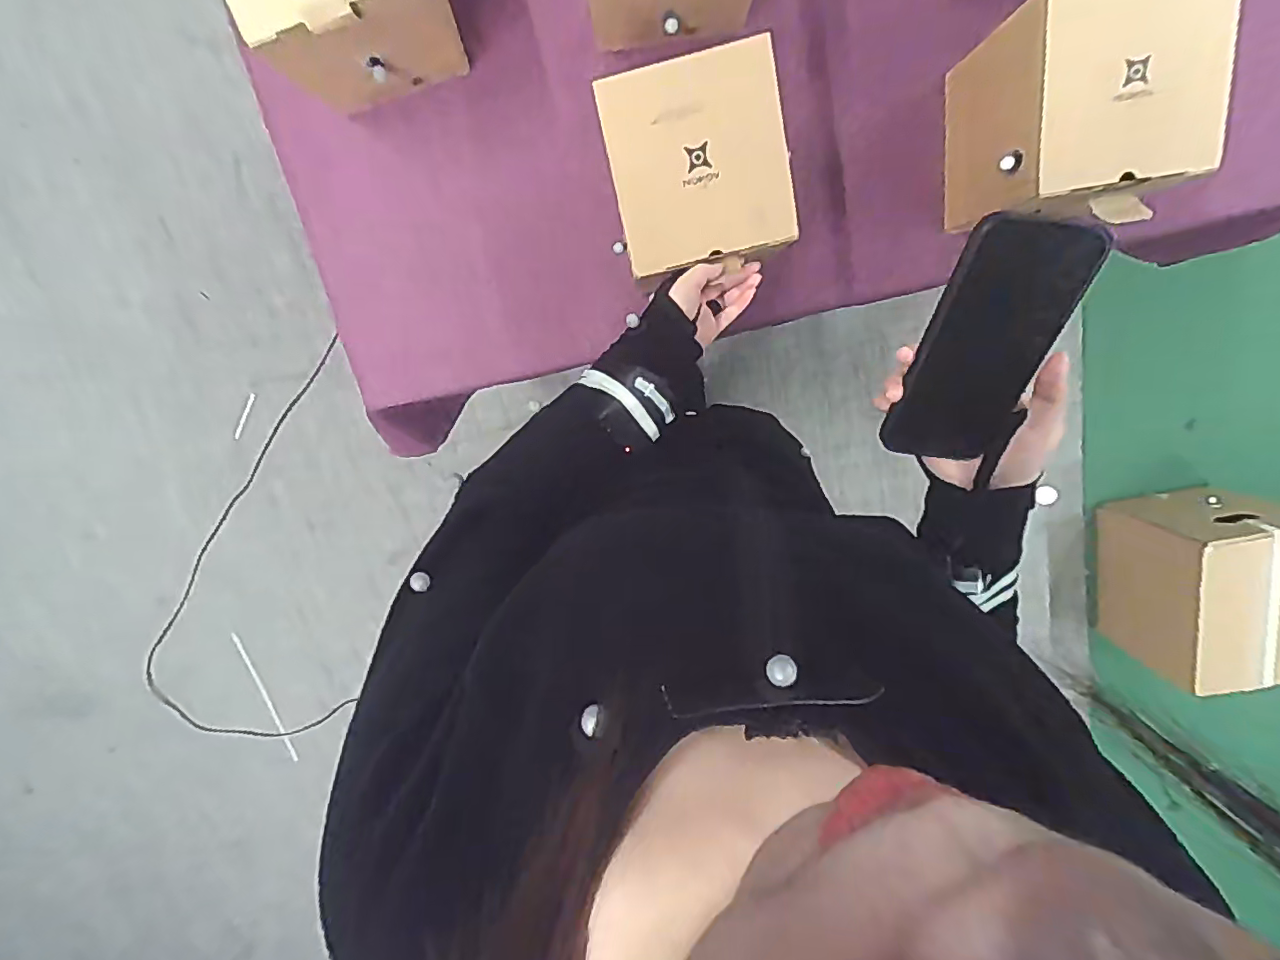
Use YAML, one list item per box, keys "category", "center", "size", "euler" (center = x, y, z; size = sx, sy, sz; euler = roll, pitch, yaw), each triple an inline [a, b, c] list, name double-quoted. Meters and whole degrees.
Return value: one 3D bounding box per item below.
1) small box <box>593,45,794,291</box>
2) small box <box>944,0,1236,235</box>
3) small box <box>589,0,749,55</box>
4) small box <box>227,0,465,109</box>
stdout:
- category: "small box"
  center: [0.055, -0.312, 0.585]
  size: [0.168, 0.176, 0.179]
  euler: [-12, 103, 4]
- category: "small box"
  center: [0.439, -0.372, 0.560]
  size: [0.168, 0.176, 0.179]
  euler: [-7, 105, 3]
- category: "small box"
  center: [0.023, -0.558, 0.521]
  size: [0.168, 0.176, 0.179]
  euler: [-5, 105, 3]
- category: "small box"
  center: [-0.299, -0.508, 0.541]
  size: [0.168, 0.176, 0.179]
  euler: [-16, 105, 5]
